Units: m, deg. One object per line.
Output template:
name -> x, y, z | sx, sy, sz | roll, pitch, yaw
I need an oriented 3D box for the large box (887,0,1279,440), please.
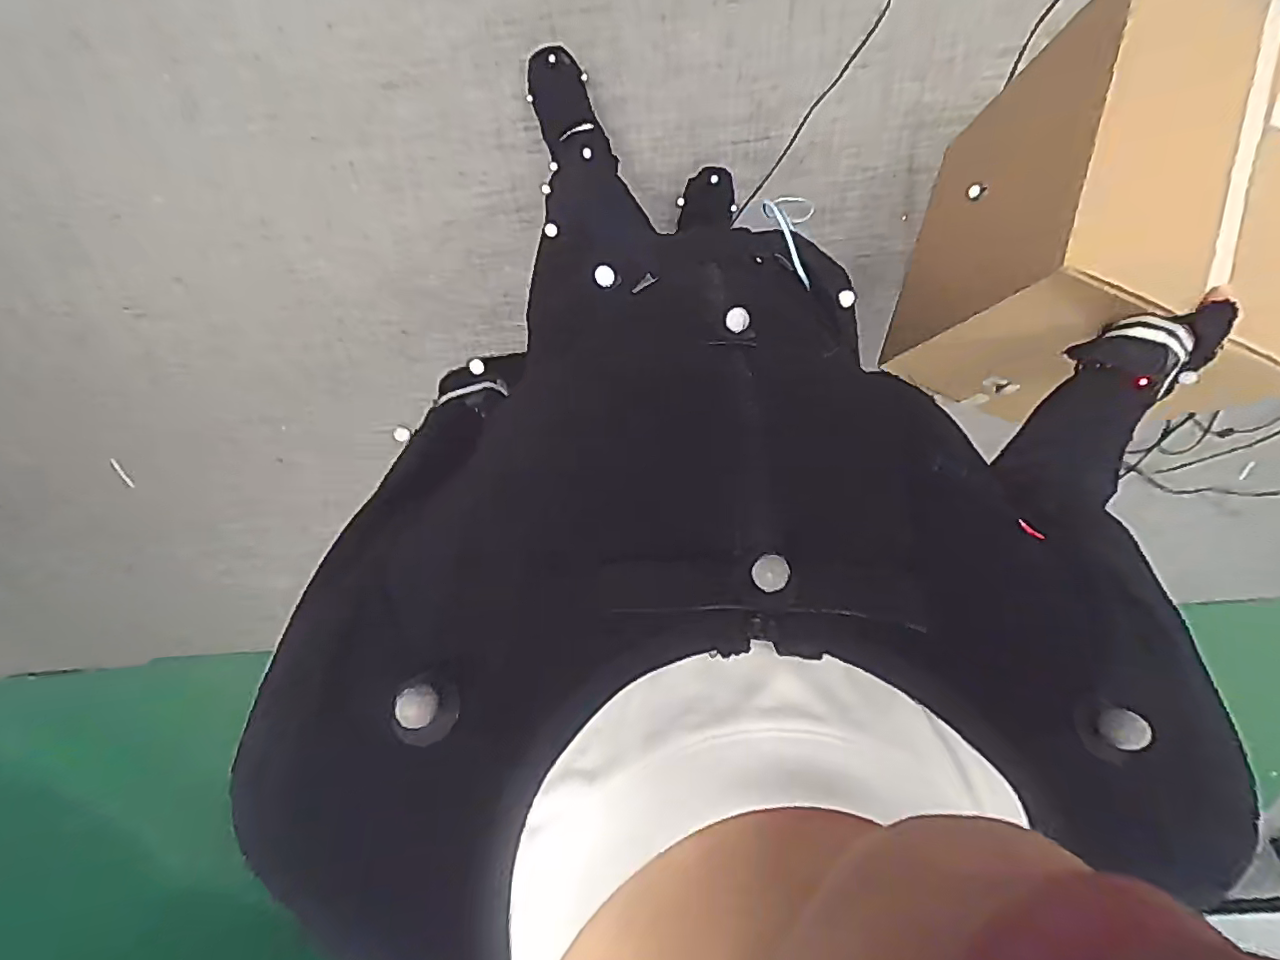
large box -> 0.590, -0.311, 0.717 | 0.320, 0.320, 0.408 | 21, 81, -5
